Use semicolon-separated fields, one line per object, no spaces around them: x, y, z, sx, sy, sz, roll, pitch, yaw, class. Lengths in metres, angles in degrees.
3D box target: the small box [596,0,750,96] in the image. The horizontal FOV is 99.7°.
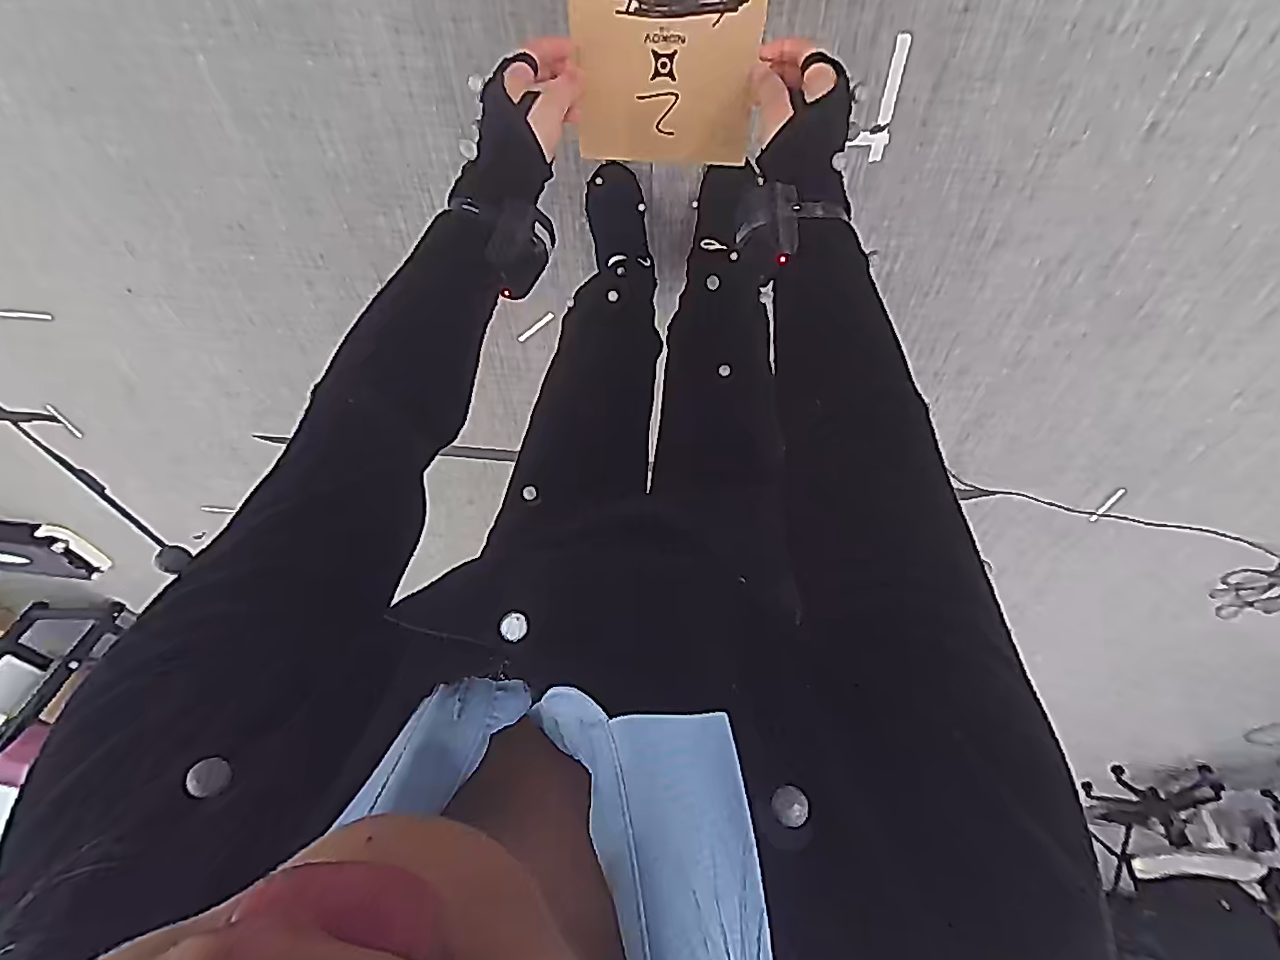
0.041;-0.565;0.615;0.168;0.176;0.179;5;139;3;small box
